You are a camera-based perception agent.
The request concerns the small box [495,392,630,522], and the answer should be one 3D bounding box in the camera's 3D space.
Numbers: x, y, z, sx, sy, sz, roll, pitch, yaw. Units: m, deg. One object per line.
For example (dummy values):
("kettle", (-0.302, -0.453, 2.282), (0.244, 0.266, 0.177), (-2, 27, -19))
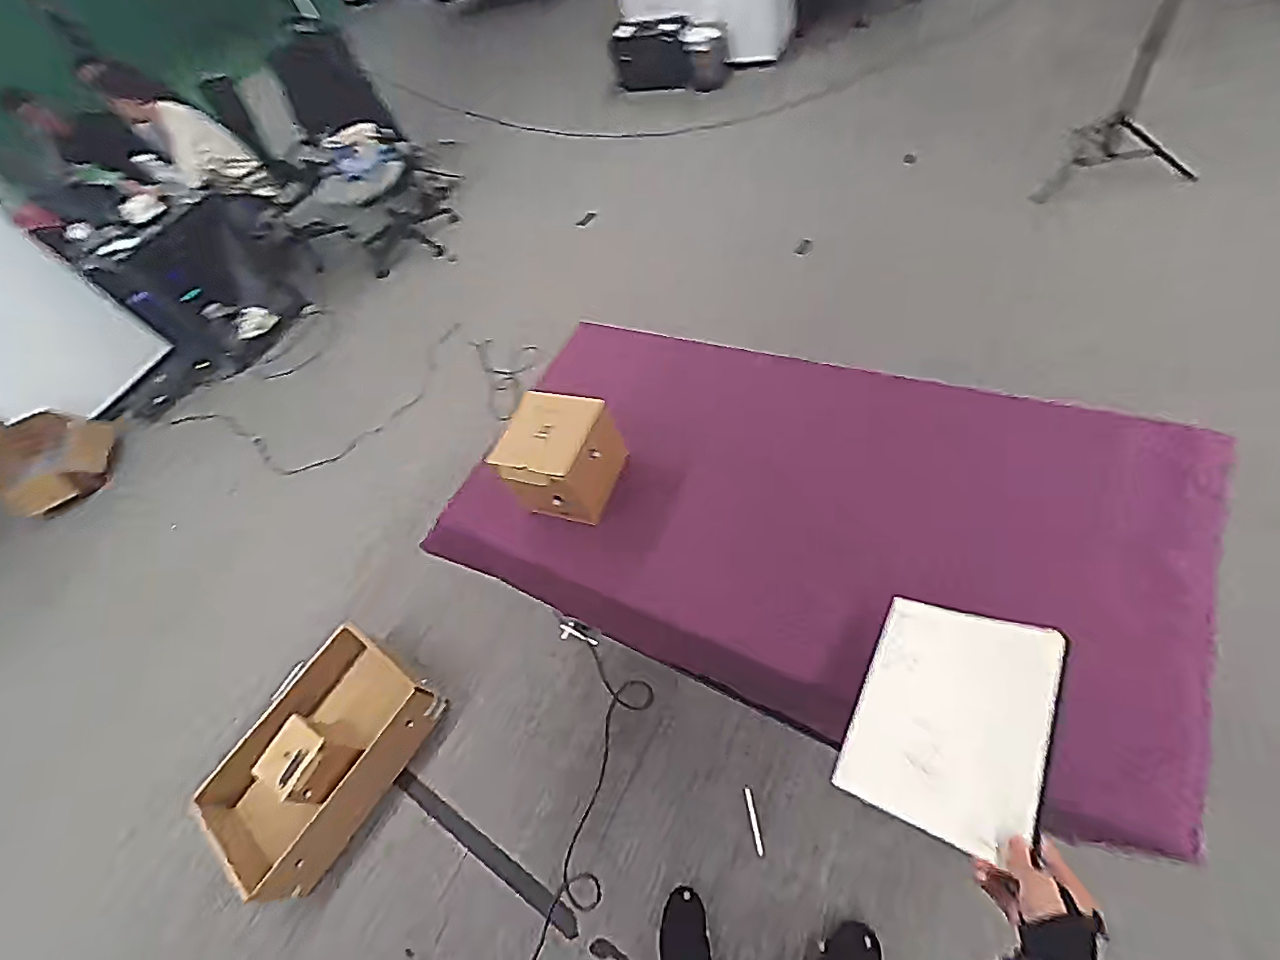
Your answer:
("small box", (-0.136, -0.041, 1.030), (0.168, 0.176, 0.179), (11, 61, 24))
